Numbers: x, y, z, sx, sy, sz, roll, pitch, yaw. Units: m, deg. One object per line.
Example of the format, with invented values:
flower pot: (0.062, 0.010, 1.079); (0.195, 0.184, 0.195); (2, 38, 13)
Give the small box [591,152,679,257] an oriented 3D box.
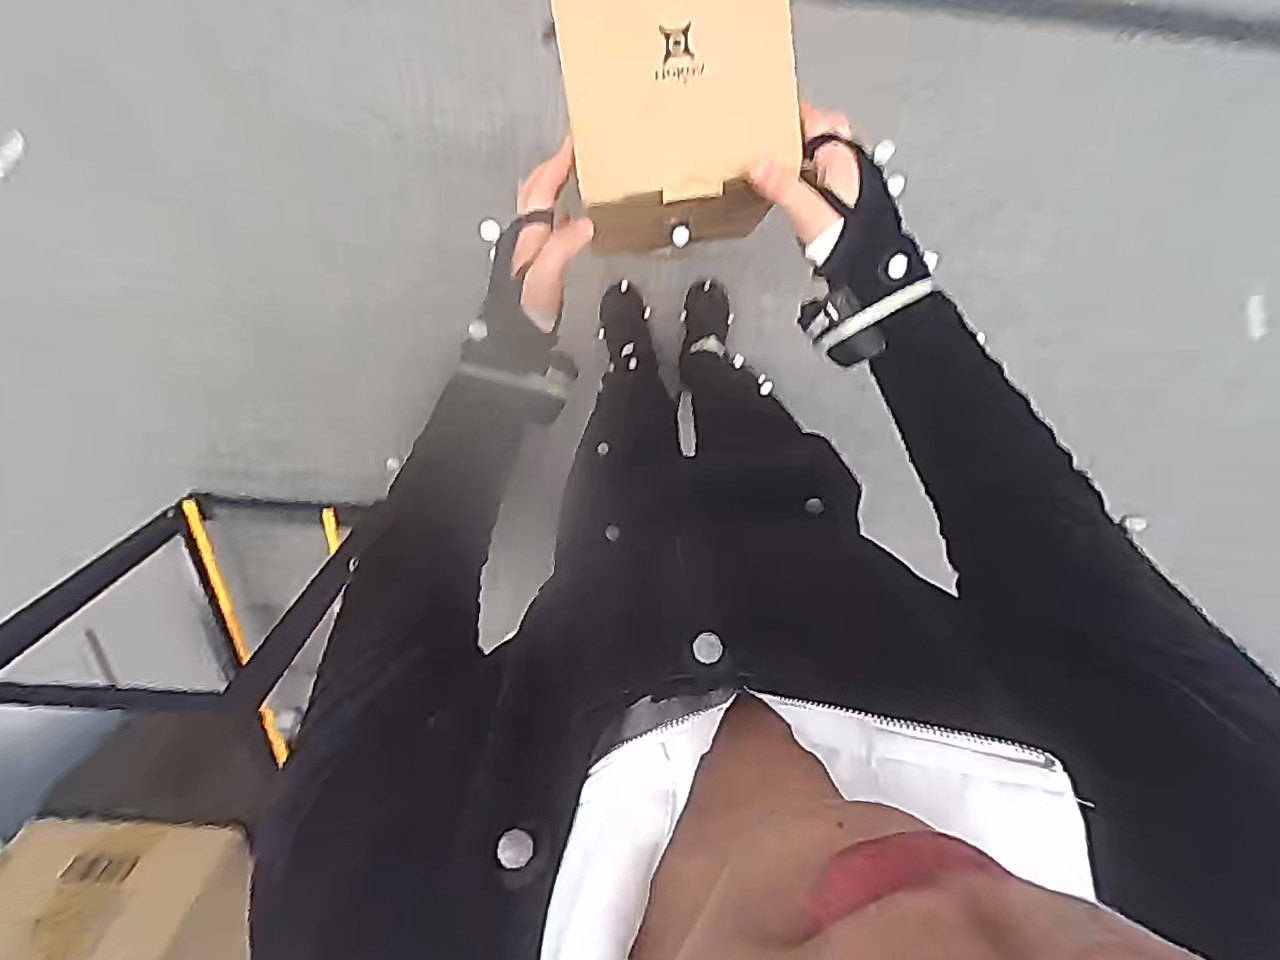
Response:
small box: (-0.014, -0.576, 1.133); (0.168, 0.176, 0.179); (4, 120, -2)
